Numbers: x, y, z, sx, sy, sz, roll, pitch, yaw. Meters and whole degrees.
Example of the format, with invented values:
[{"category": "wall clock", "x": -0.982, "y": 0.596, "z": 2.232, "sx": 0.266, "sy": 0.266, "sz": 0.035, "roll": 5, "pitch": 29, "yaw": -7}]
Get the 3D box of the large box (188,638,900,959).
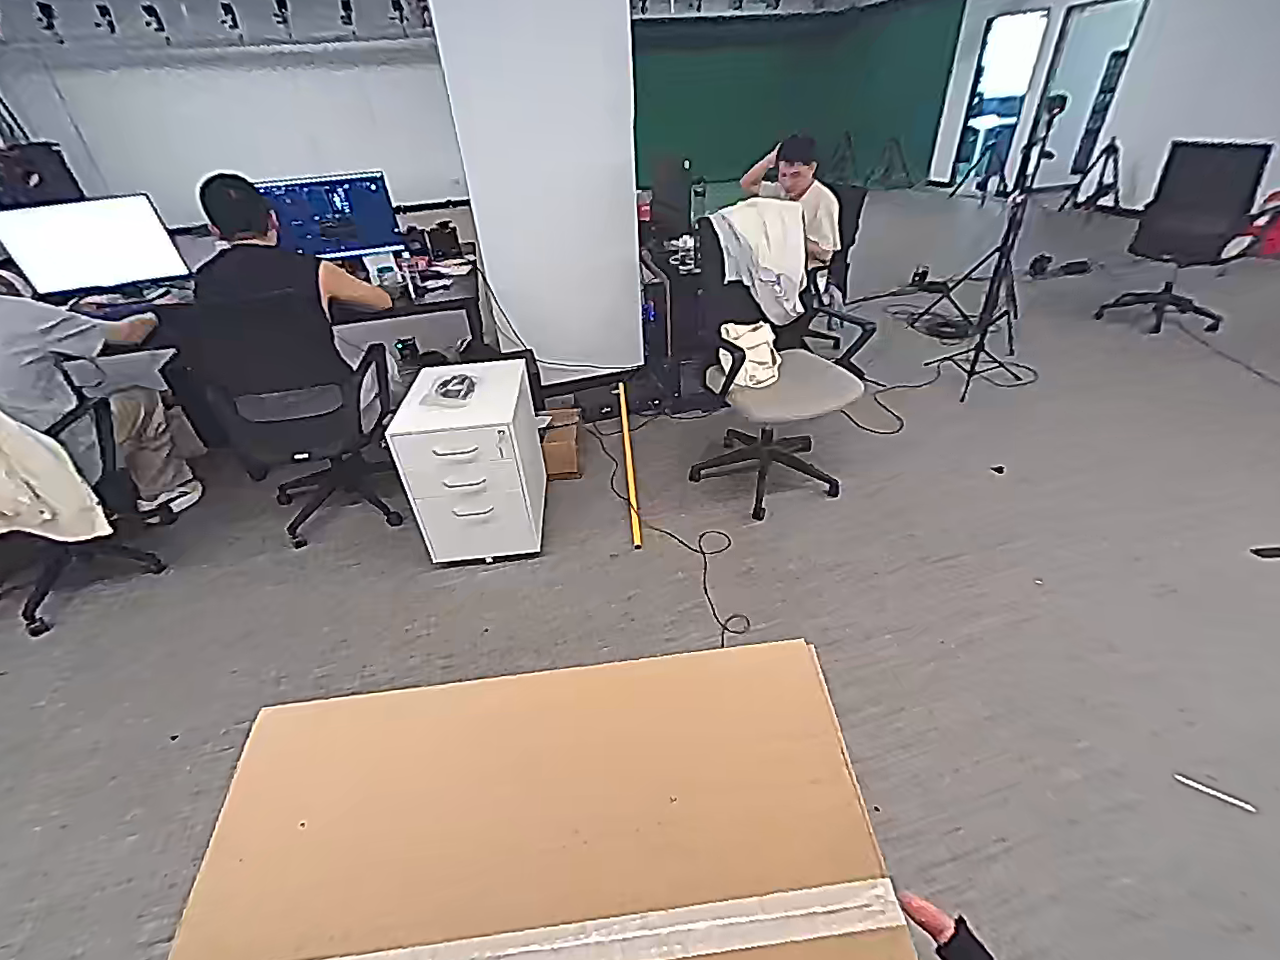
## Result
[{"category": "large box", "x": -0.049, "y": 0.355, "z": 0.419, "sx": 0.408, "sy": 0.320, "sz": 0.320, "roll": -7, "pitch": 48, "yaw": -1}]
